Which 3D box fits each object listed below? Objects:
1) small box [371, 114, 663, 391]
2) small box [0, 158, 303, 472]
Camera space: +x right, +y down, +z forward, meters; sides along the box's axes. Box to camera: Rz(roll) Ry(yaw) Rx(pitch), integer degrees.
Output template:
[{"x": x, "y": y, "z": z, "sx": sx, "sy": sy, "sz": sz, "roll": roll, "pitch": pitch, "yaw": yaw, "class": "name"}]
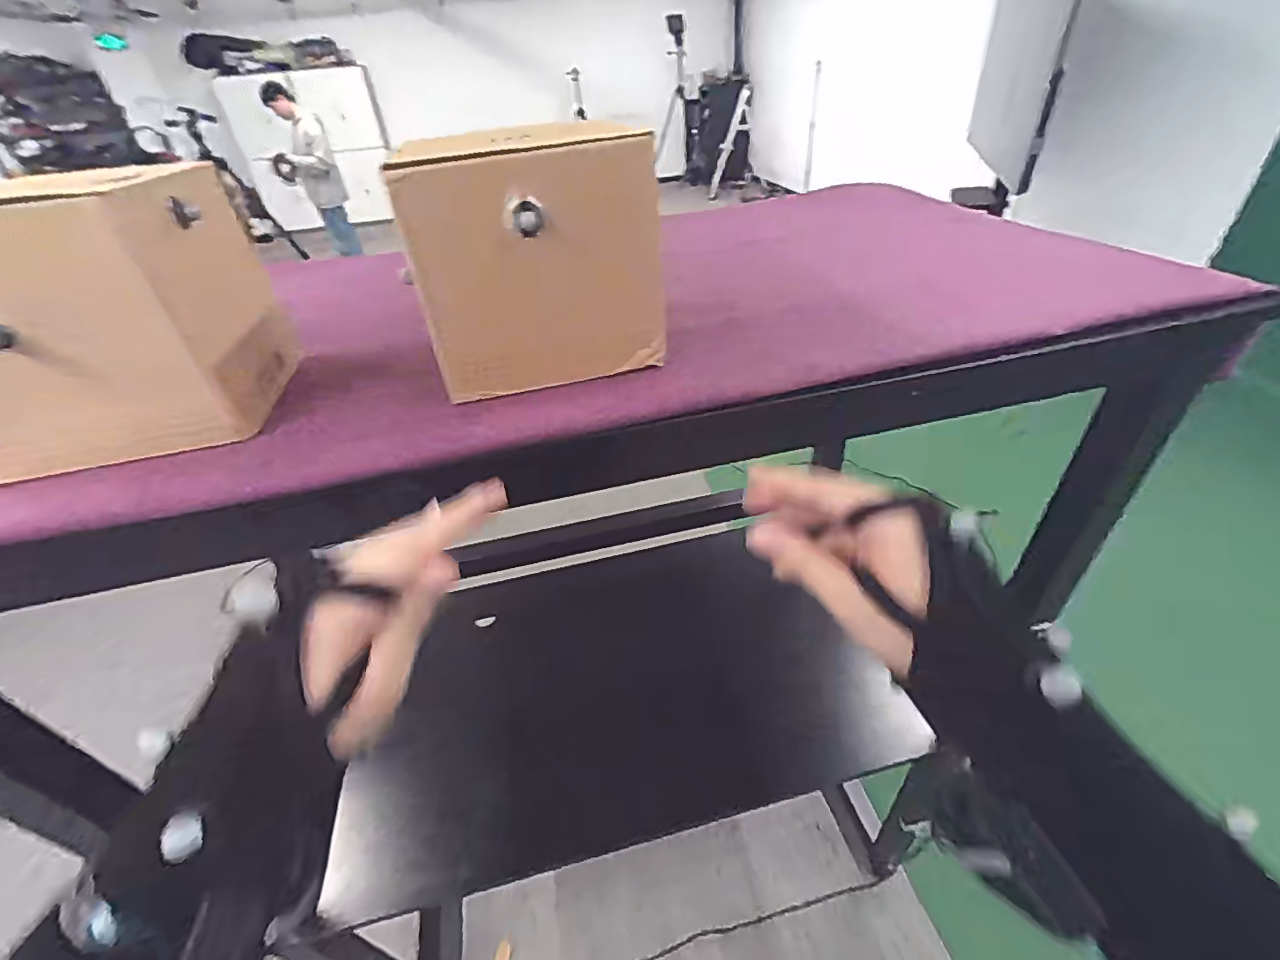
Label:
[{"x": -0.088, "y": -0.188, "z": 0.443, "sx": 0.179, "sy": 0.176, "sz": 0.168, "roll": -12, "pitch": 37, "yaw": -8, "class": "small box"}, {"x": -0.395, "y": -0.125, "z": 0.401, "sx": 0.179, "sy": 0.176, "sz": 0.168, "roll": -13, "pitch": 37, "yaw": -9, "class": "small box"}]
